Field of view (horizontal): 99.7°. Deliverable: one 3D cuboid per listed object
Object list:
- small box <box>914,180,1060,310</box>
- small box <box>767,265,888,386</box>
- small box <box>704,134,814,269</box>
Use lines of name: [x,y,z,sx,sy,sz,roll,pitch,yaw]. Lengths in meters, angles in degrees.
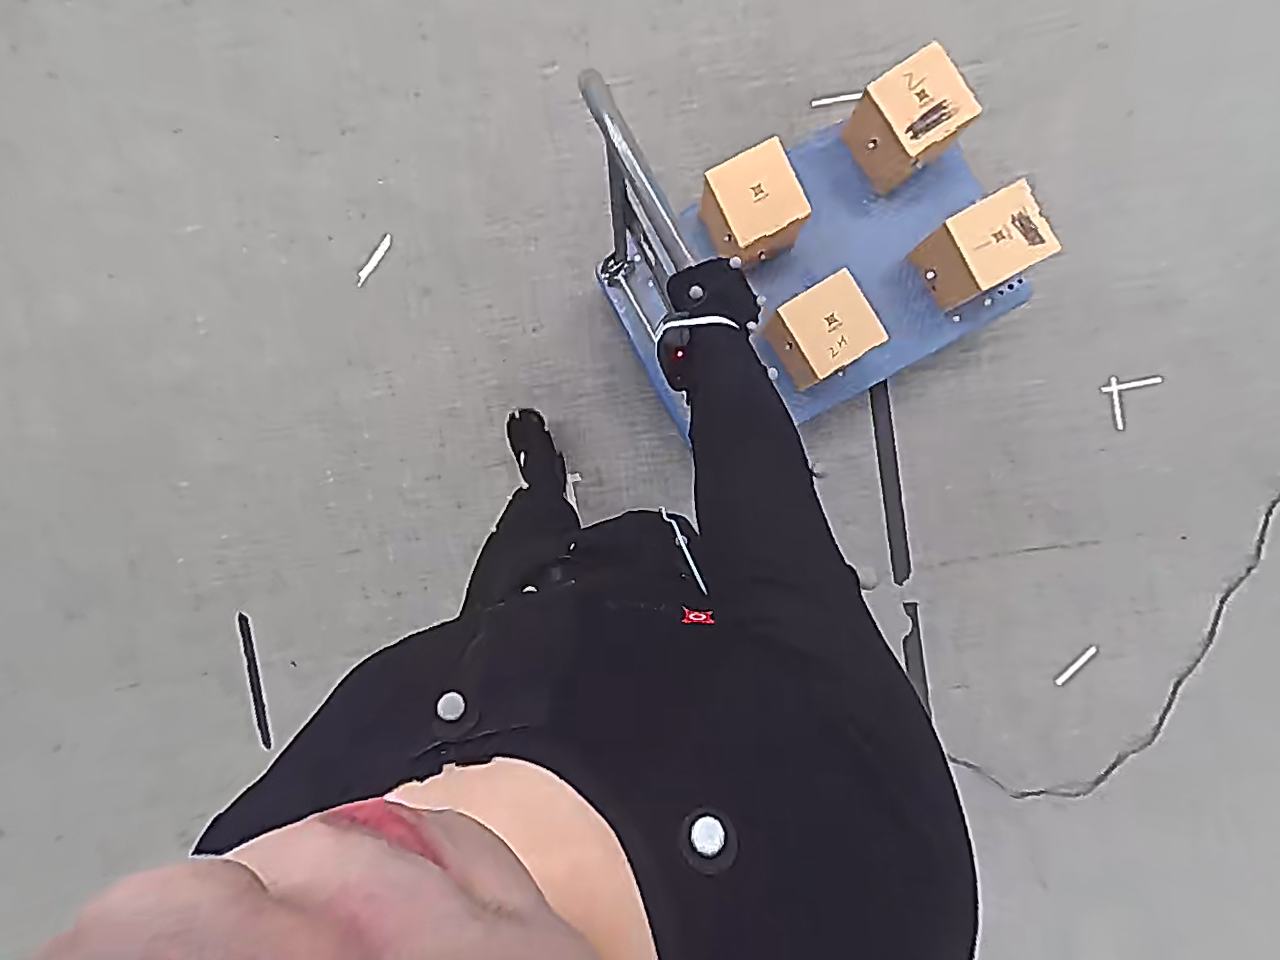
small box: [0.735,-0.496,1.166,0.179,0.176,0.168,-27,90,4]
small box: [0.399,-0.328,1.187,0.168,0.176,0.179,-30,90,3]
small box: [0.251,-0.599,1.187,0.168,0.176,0.179,-26,92,3]
